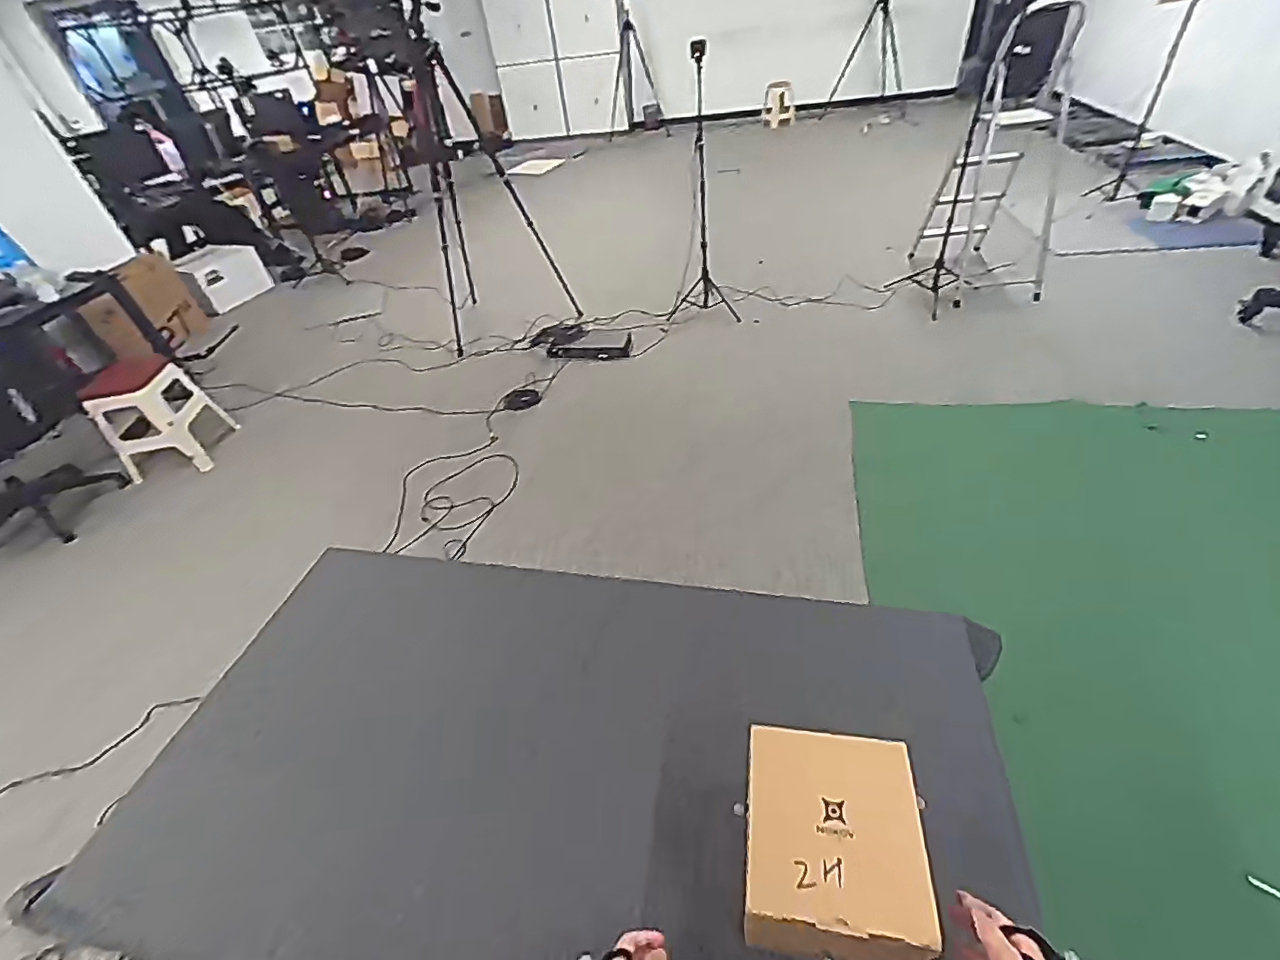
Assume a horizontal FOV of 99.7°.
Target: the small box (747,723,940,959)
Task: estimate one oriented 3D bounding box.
[{"bbox_3d":[0.205,0.399,0.594,0.168,0.176,0.179,1,42,13],"label":"small box"}]
